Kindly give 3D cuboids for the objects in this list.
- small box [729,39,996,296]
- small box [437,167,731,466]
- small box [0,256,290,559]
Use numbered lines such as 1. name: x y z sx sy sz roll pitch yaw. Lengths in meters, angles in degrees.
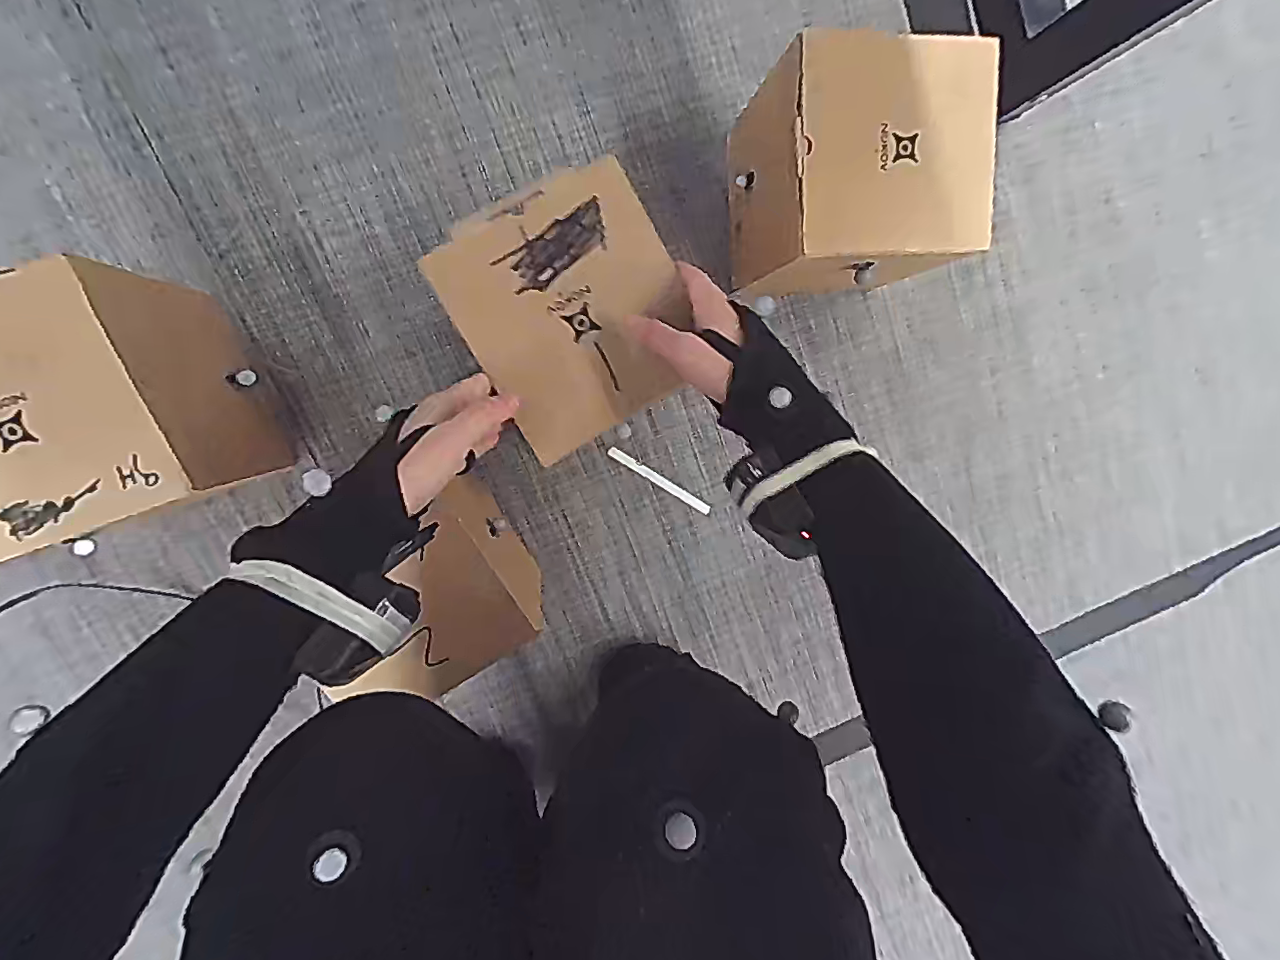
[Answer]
1. small box: 0.197 -0.277 0.520 0.179 0.176 0.168 -5 99 -8
2. small box: -0.049 -0.126 0.484 0.168 0.176 0.179 -30 97 -4
3. small box: -0.433 -0.052 0.440 0.168 0.176 0.179 -20 100 -7
